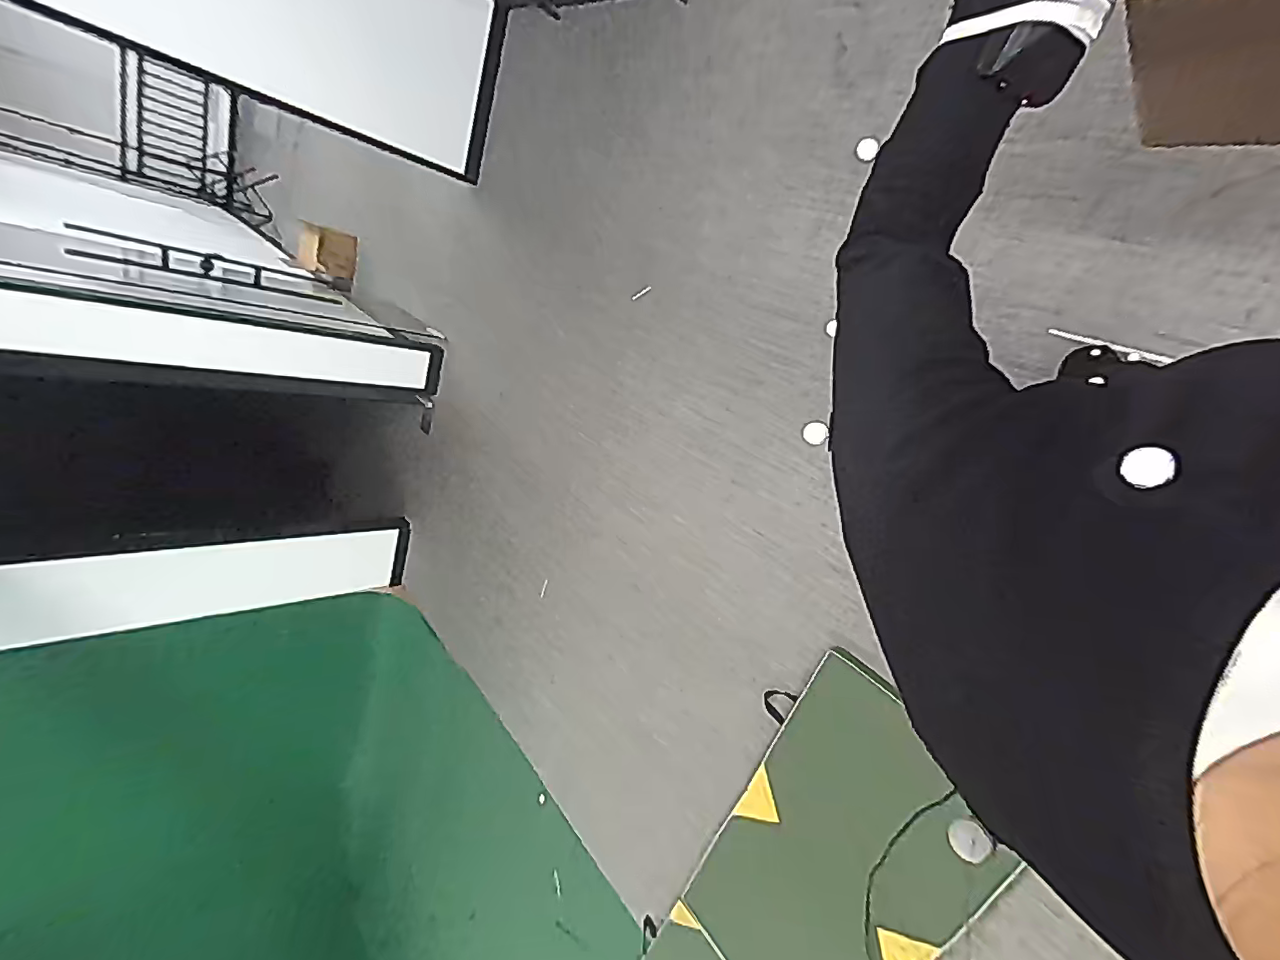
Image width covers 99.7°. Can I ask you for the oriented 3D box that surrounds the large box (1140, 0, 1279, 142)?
[{"bbox_3d":[0.566,-0.399,0.268,0.408,0.320,0.320,24,114,37],"label":"large box"}]
